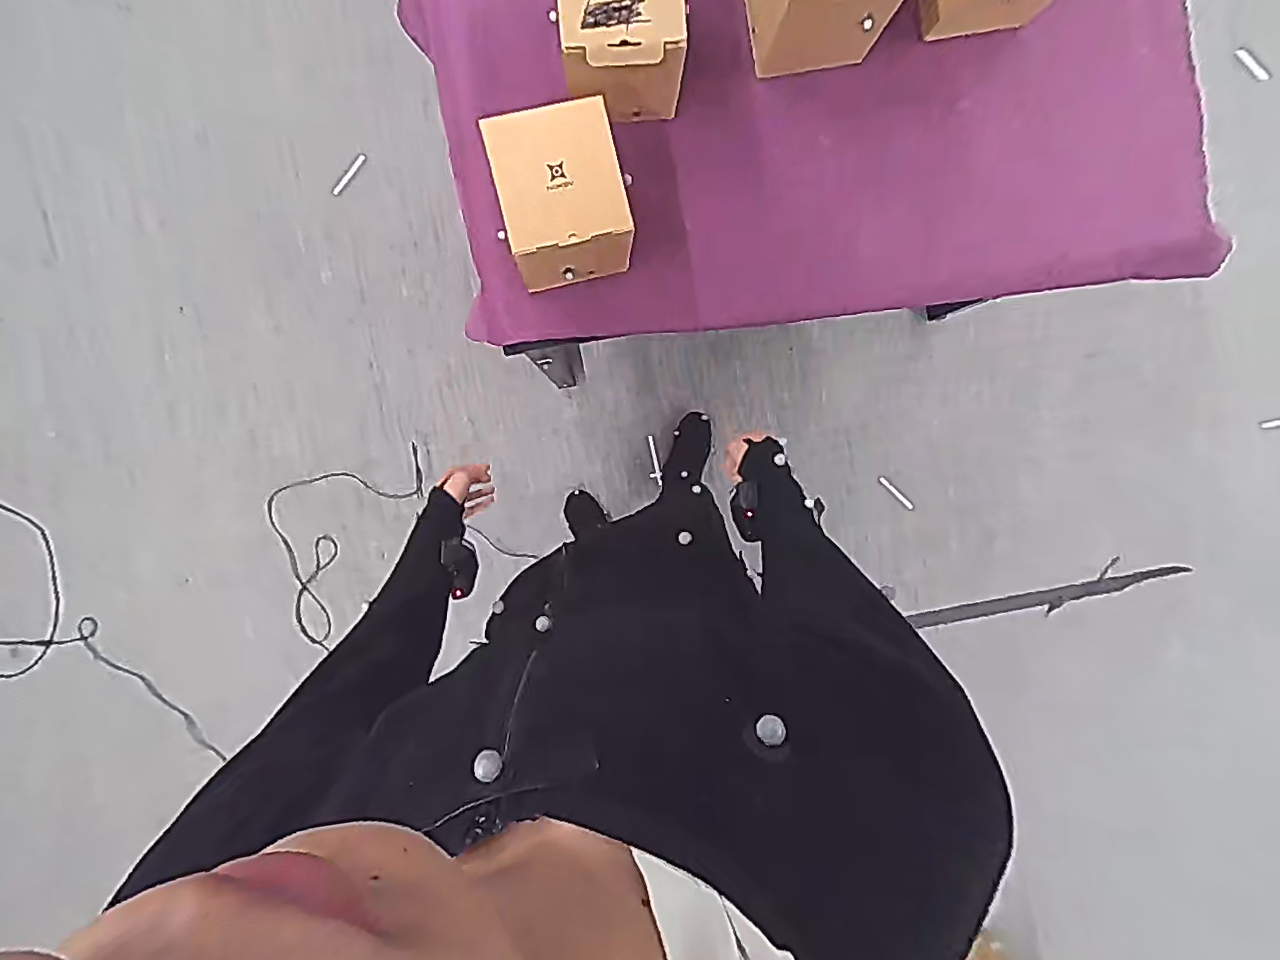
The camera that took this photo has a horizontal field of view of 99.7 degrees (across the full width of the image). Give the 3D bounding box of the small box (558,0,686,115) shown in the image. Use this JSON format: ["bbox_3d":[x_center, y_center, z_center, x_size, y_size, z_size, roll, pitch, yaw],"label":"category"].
[{"bbox_3d":[-0.029,-0.649,0.768,0.168,0.176,0.179,-5,94,-3],"label":"small box"}]

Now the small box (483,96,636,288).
[{"bbox_3d":[-0.111,-0.401,0.779,0.168,0.176,0.179,-15,95,-4],"label":"small box"}]
